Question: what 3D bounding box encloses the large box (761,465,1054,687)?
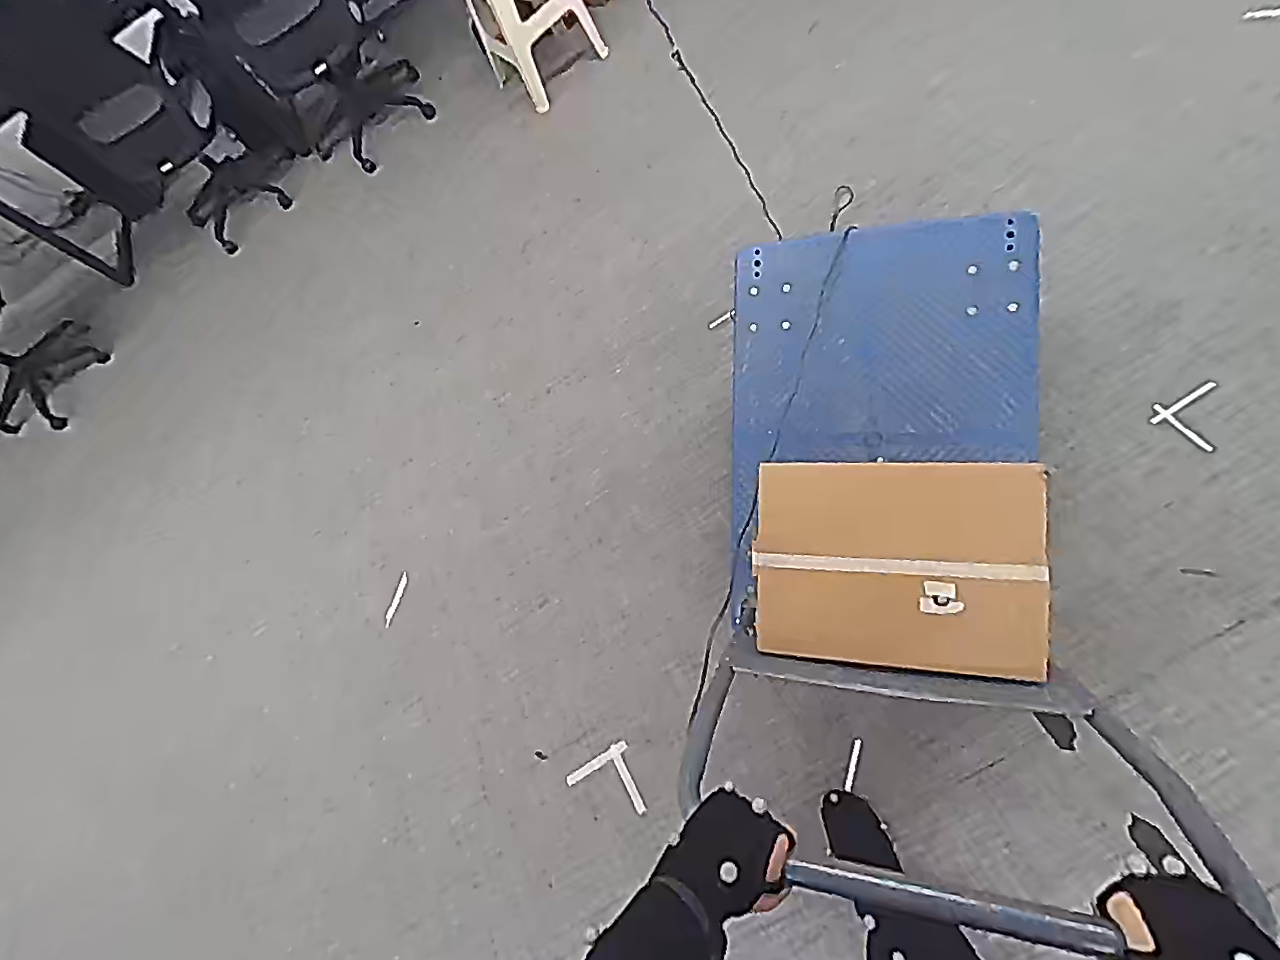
[{"bbox_3d":[0.429,0.138,0.951,0.408,0.320,0.320,1,90,18],"label":"large box"}]
